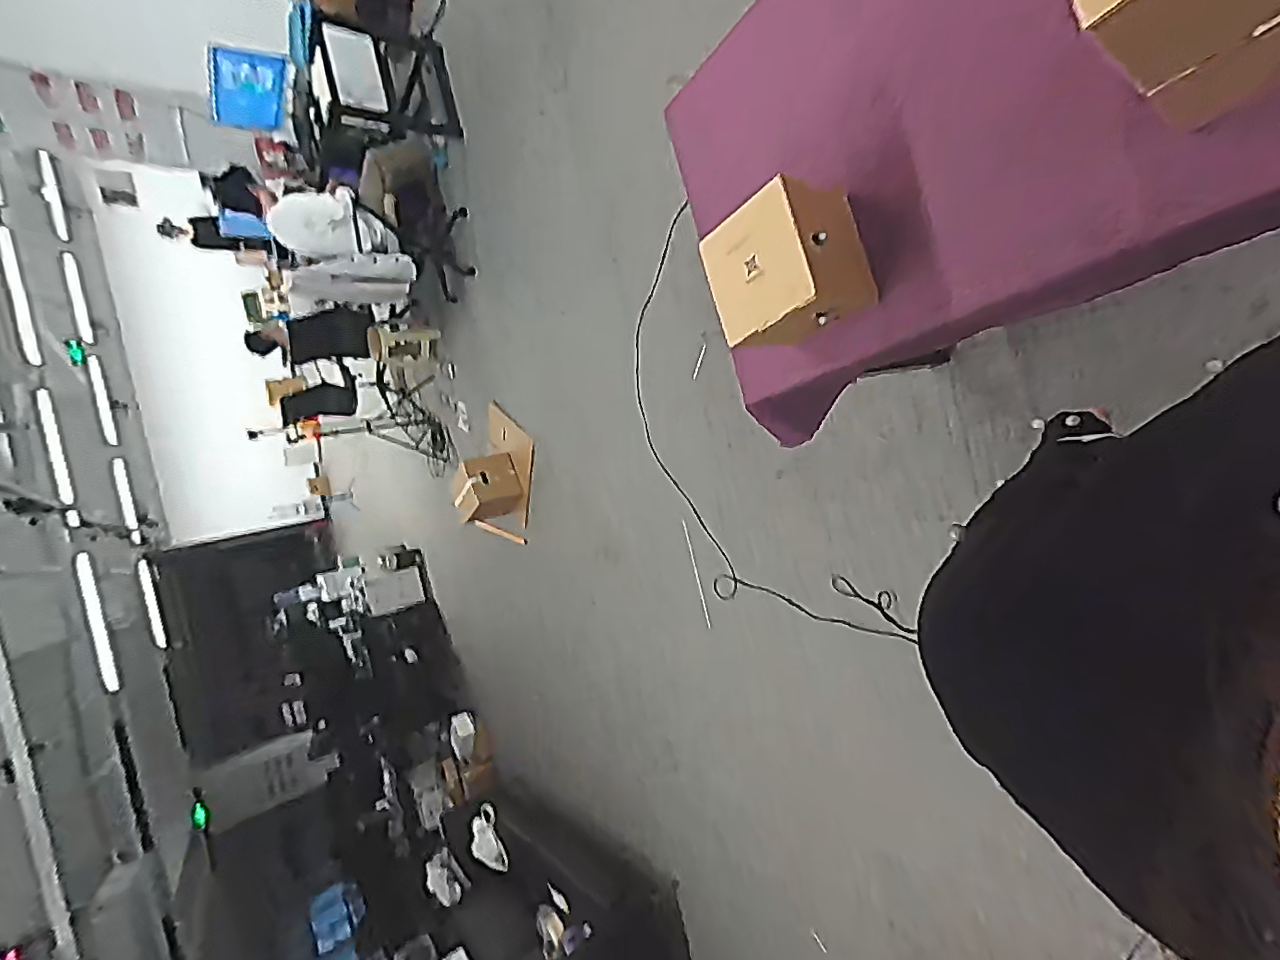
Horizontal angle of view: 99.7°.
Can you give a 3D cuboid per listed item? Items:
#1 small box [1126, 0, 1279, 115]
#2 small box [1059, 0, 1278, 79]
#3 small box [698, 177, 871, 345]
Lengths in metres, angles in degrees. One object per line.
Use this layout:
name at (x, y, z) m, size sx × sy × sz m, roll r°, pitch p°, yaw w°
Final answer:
small box at (0.498, -0.433, 0.436) m, size 0.168 × 0.176 × 0.179 m, roll -18°, pitch 87°, yaw 53°
small box at (0.372, -0.400, 0.334) m, size 0.179 × 0.176 × 0.168 m, roll -19°, pitch 86°, yaw 53°
small box at (0.222, -0.323, 0.825) m, size 0.168 × 0.176 × 0.179 m, roll -20°, pitch 84°, yaw 52°
